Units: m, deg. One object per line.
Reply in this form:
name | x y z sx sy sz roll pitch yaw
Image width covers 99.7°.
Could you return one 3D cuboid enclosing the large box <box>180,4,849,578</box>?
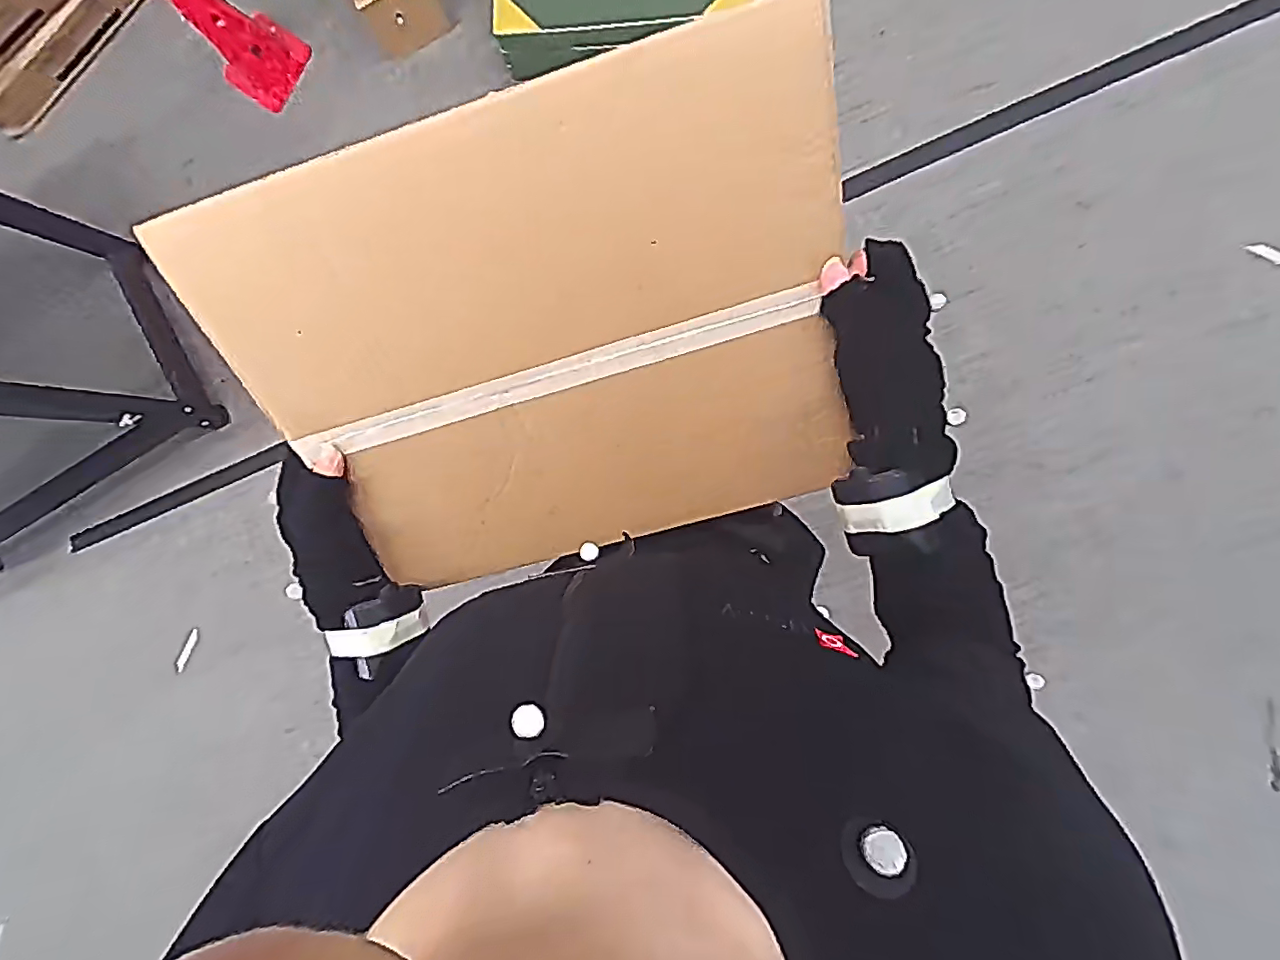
large box | -0.063 -0.164 0.515 0.408 0.320 0.320 -15 122 7
